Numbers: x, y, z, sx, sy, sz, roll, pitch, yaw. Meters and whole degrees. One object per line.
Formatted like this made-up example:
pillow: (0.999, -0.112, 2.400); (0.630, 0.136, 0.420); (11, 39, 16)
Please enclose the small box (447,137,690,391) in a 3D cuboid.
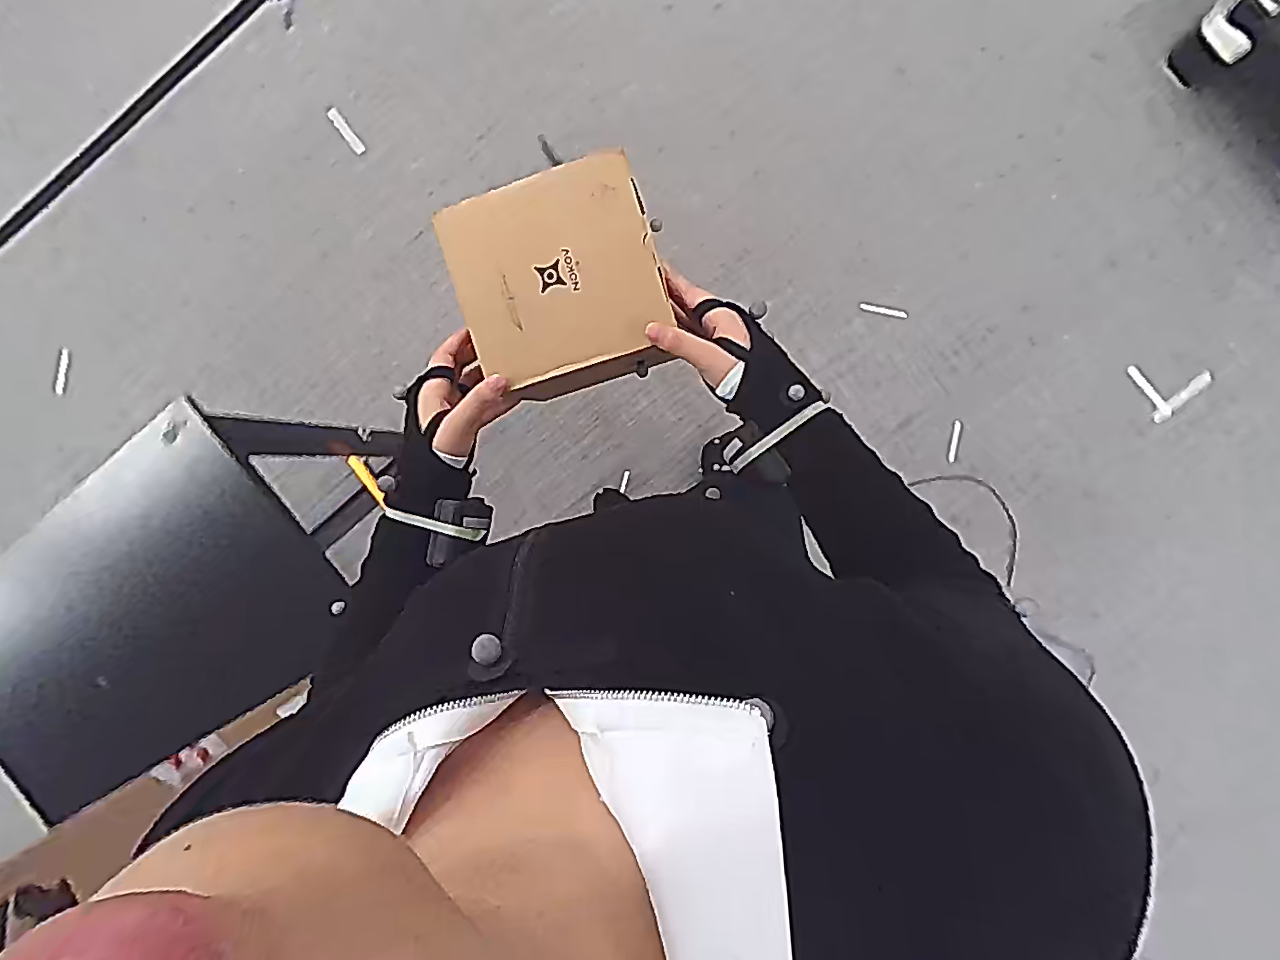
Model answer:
small box: (-0.055, -0.192, 0.539); (0.179, 0.176, 0.168); (-16, 94, 8)
